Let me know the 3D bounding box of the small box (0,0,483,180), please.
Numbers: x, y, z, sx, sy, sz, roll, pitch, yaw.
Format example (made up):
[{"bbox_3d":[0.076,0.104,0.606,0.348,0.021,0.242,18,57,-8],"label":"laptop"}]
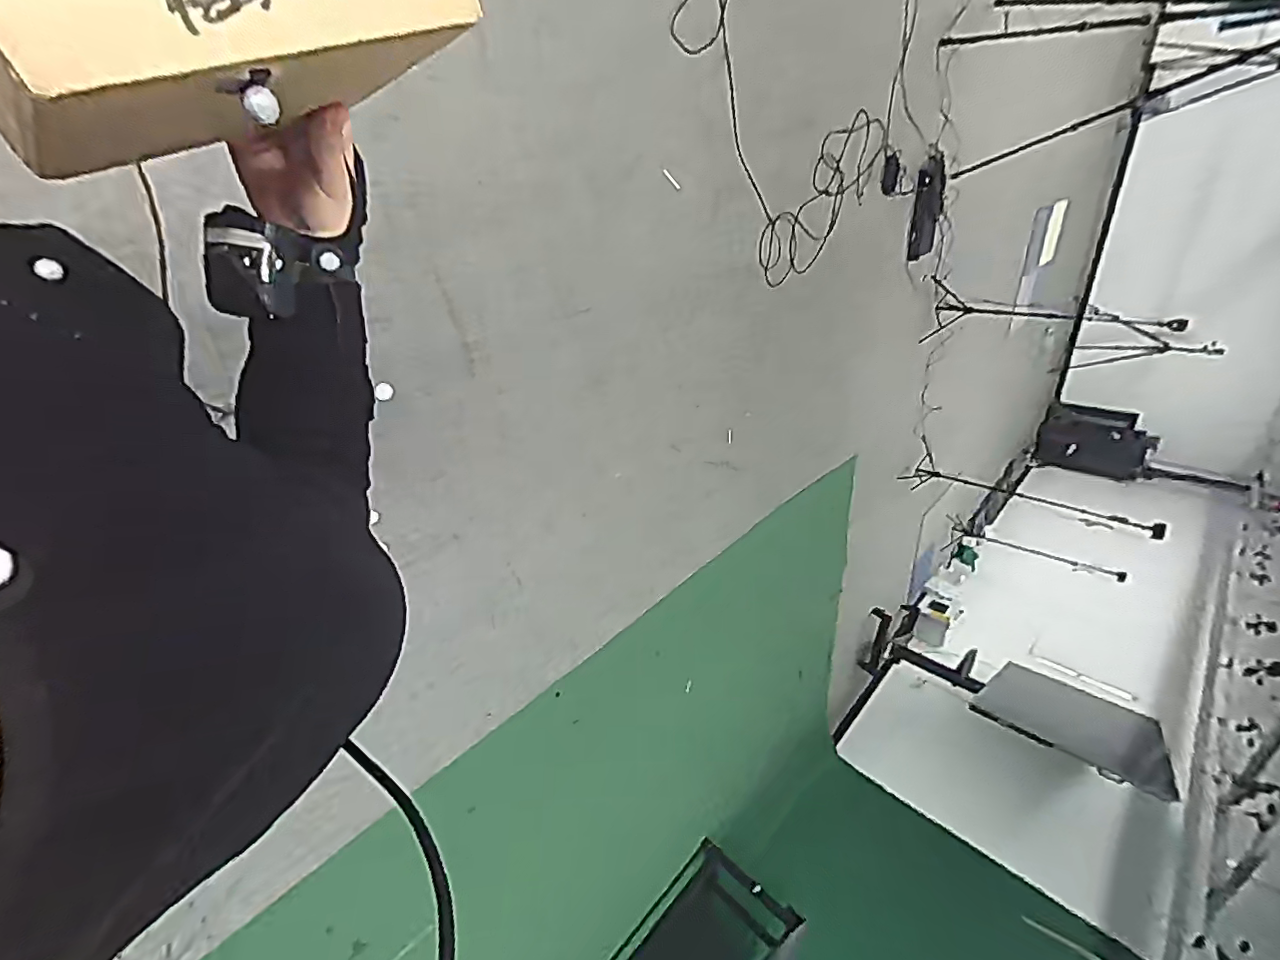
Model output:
[{"bbox_3d":[-0.204,-0.246,0.214,0.168,0.176,0.179,-41,129,-31],"label":"small box"}]
